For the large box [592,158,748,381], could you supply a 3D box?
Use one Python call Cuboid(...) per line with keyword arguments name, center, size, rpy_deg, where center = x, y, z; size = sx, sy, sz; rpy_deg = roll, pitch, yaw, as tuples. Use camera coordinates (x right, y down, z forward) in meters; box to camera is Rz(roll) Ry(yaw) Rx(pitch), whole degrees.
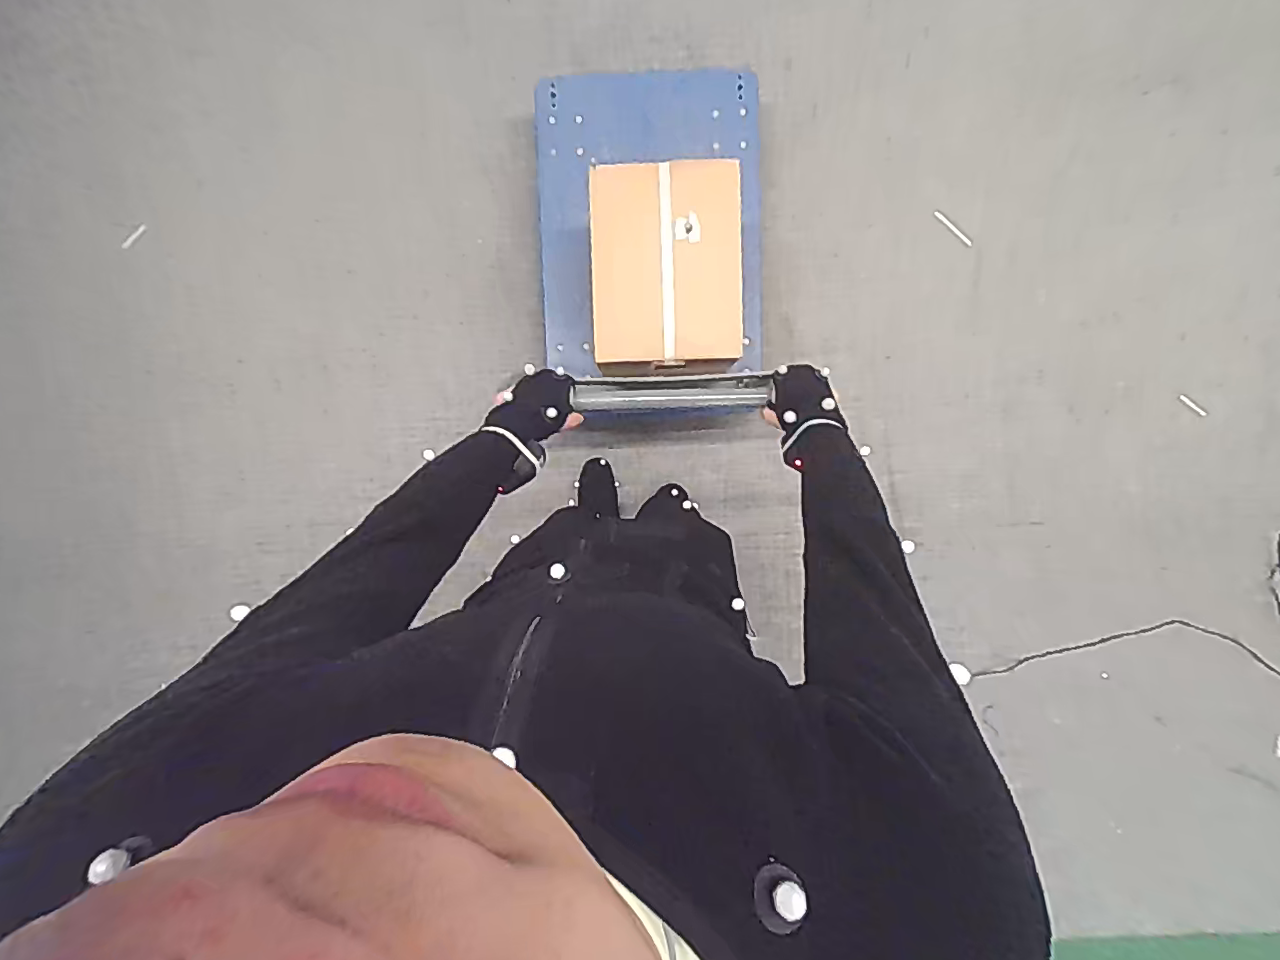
Cuboid(name="large box", center=(0.066, -0.454, 1.255), size=(0.320, 0.320, 0.408), rpy_deg=(-2, 93, 1))
